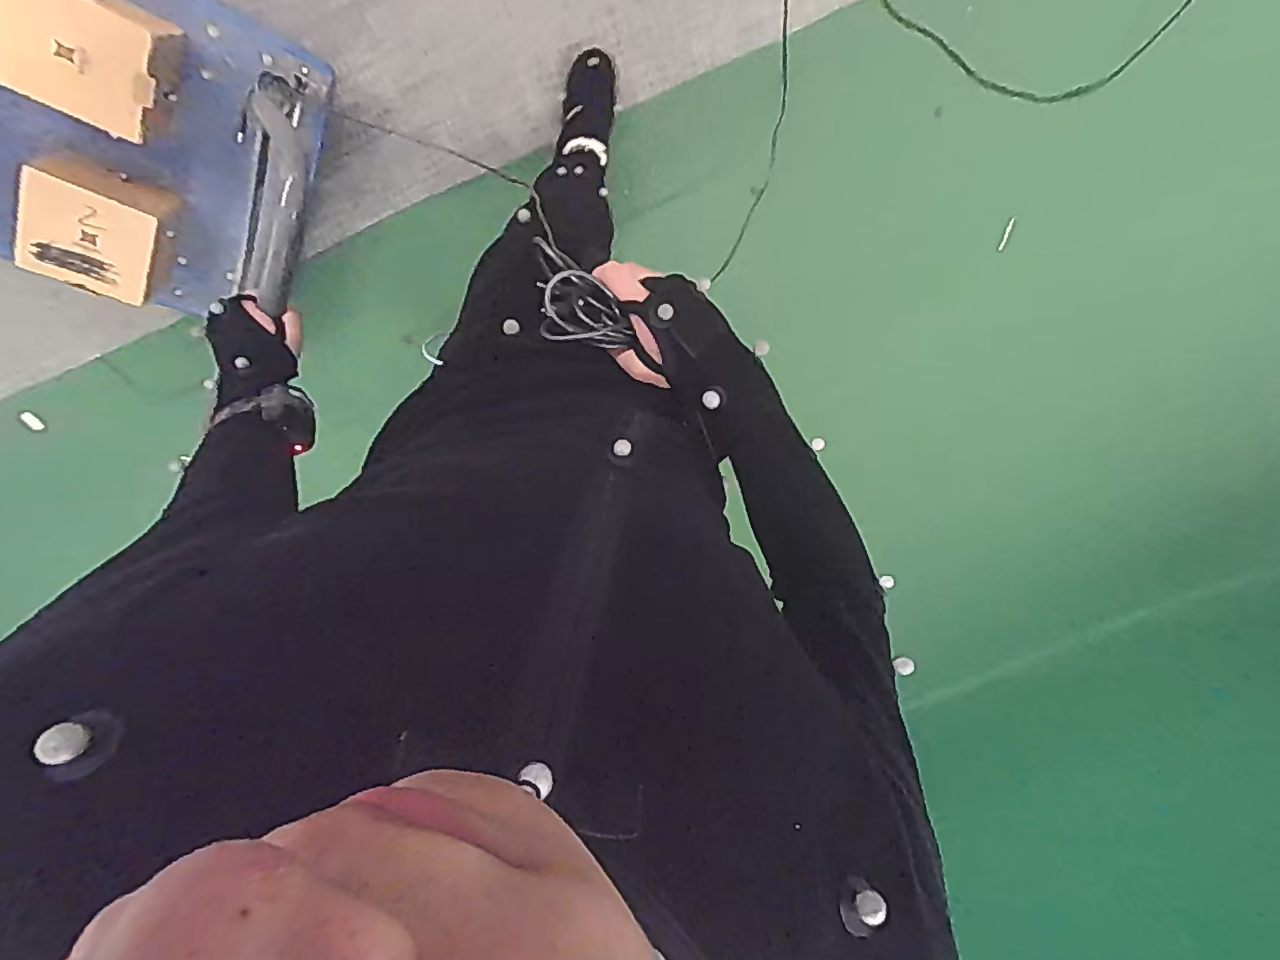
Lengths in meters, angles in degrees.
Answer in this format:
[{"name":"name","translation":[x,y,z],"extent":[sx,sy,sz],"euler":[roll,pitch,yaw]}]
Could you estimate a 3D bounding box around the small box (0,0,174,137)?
[{"name":"small box","translation":[-0.862,-0.668,0.833],"extent":[0.179,0.176,0.168],"euler":[14,120,-35]}]
